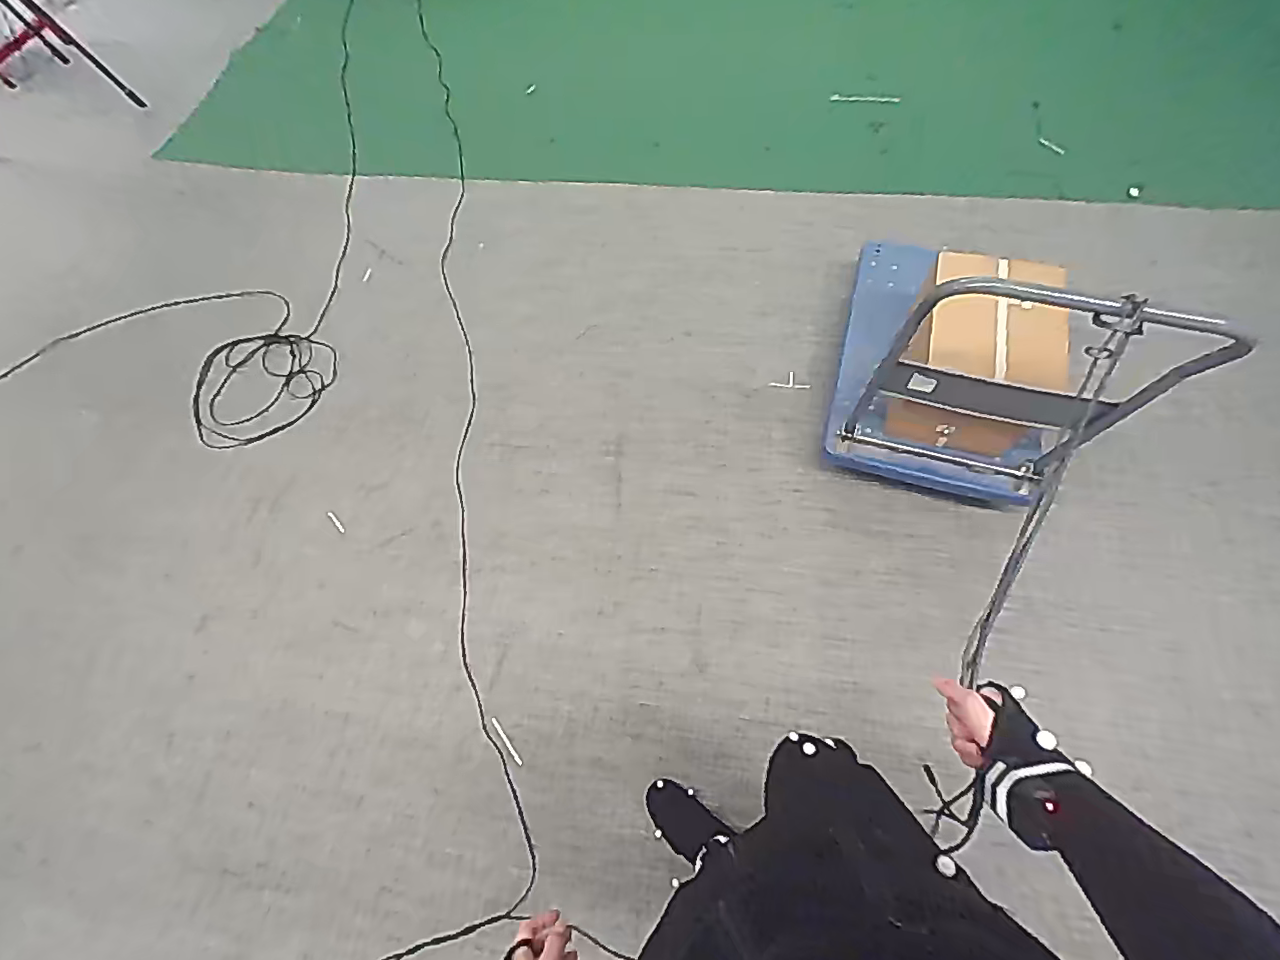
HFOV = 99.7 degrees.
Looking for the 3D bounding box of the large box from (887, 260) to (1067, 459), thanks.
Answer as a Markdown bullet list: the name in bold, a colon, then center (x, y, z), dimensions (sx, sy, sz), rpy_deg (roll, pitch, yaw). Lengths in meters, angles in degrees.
- **large box**: center (0.892, -0.320, 1.473), dimensions (0.320, 0.320, 0.408), rpy_deg (14, 65, 10)
